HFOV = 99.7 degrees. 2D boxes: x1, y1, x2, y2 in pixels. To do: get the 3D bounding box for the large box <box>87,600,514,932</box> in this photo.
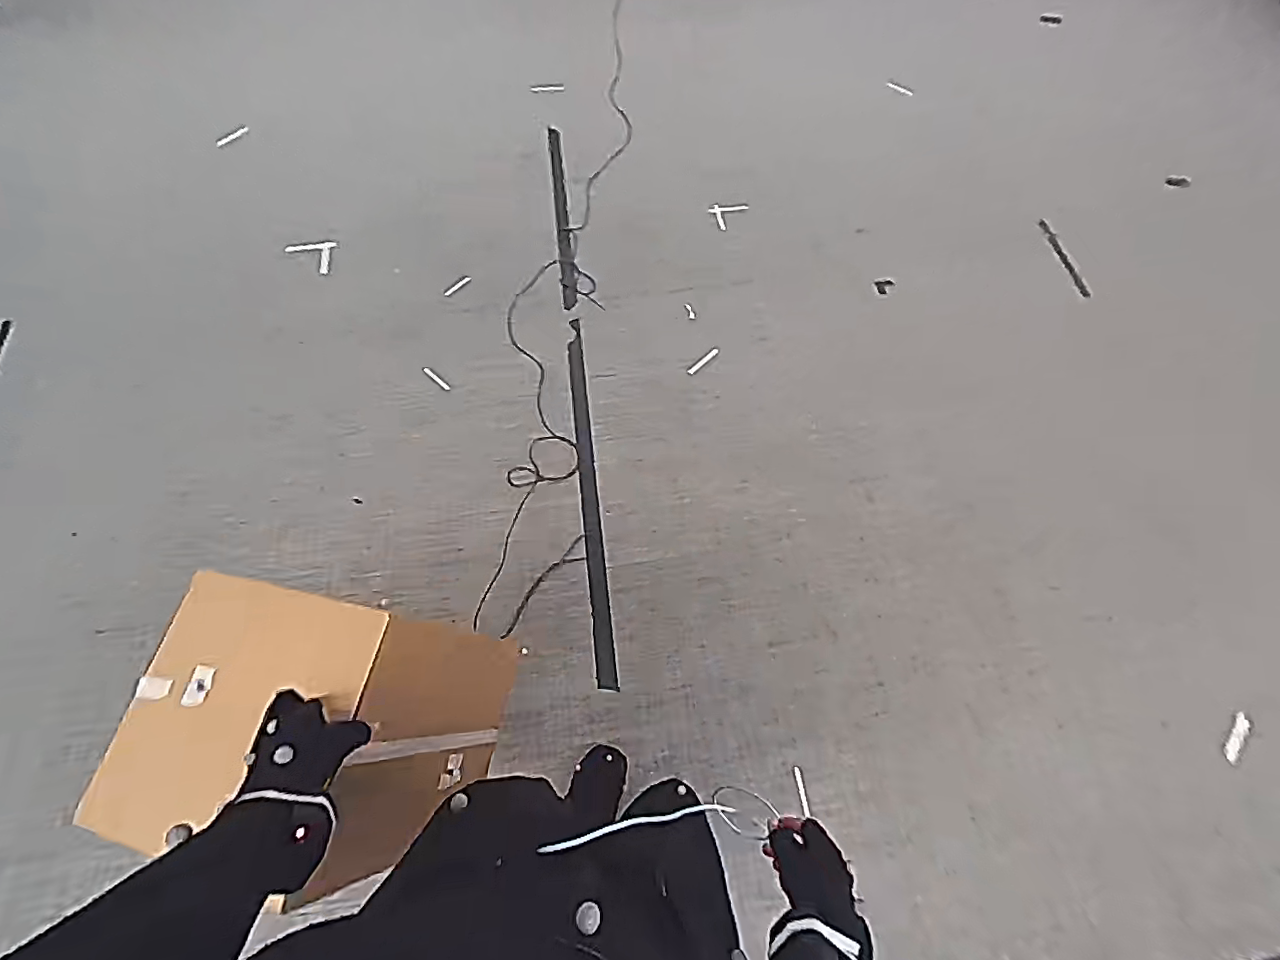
[{"bbox_3d":[-0.443,0.379,0.817,0.320,0.408,0.320,7,70,14],"label":"large box"}]
